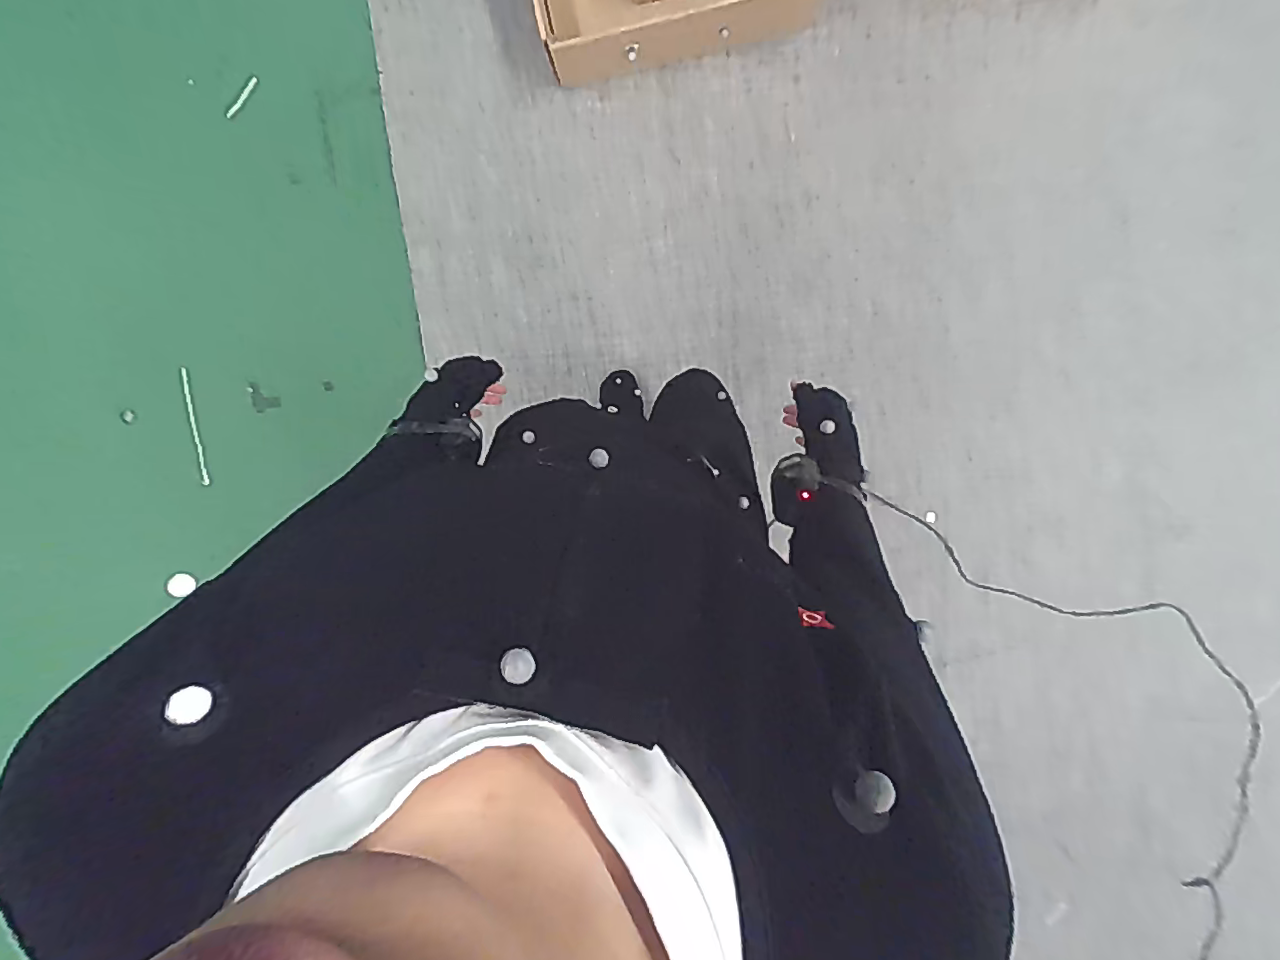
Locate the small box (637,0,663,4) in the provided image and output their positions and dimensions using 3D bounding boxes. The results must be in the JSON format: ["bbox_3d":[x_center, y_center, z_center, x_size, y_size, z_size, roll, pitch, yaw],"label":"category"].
[{"bbox_3d":[0.062,-1.140,1.118,0.179,0.176,0.168,-11,101,2],"label":"small box"}]
